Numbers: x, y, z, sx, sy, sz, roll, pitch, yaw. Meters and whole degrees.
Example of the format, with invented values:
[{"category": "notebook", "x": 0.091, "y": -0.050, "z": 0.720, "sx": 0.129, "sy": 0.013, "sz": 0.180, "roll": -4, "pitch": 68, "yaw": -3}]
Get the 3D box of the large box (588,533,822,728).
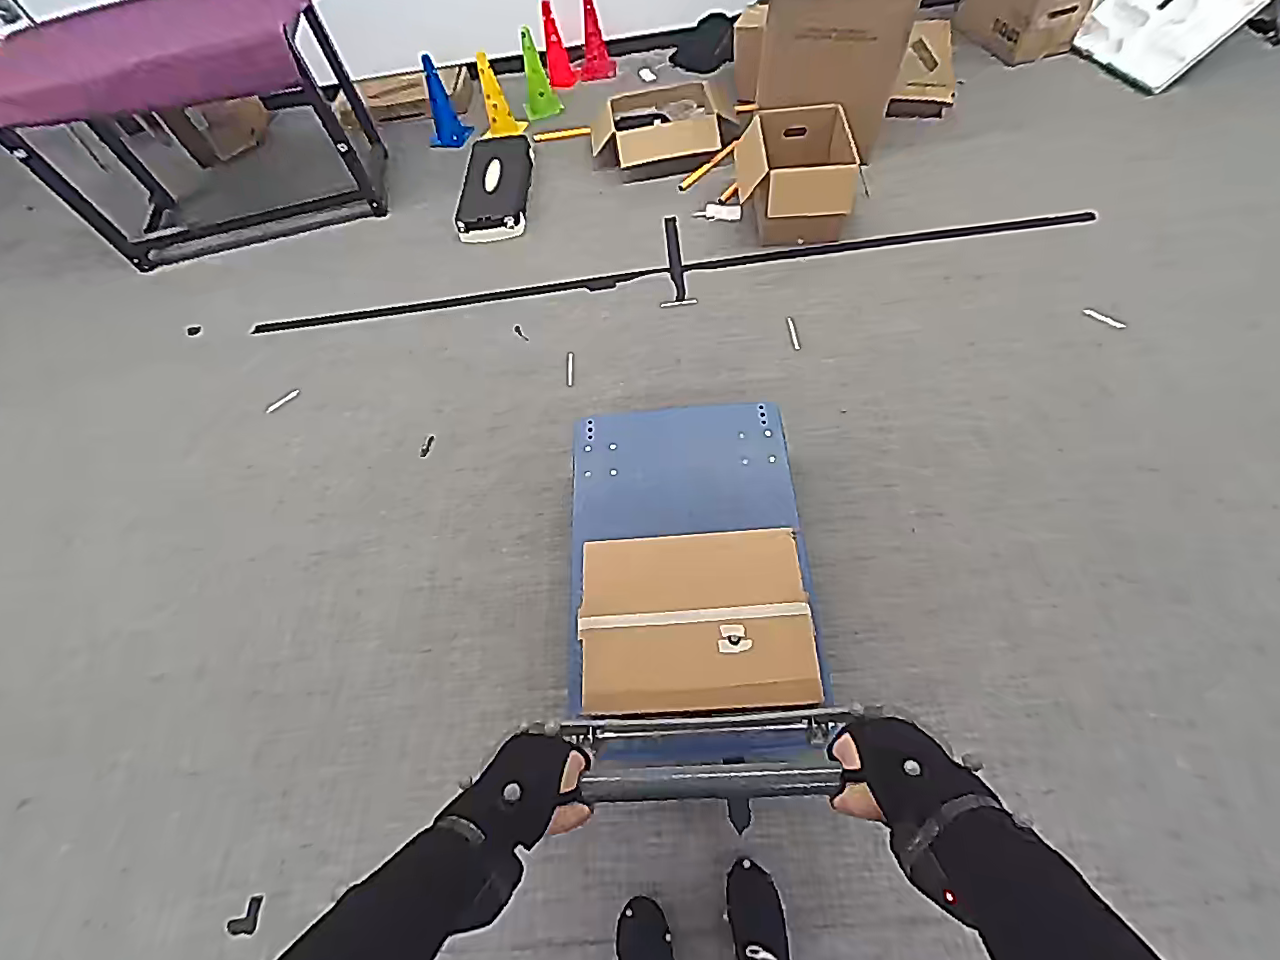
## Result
[{"category": "large box", "x": 0.114, "y": 0.324, "z": 1.117, "sx": 0.408, "sy": 0.320, "sz": 0.320, "roll": -5, "pitch": 63, "yaw": 3}]
